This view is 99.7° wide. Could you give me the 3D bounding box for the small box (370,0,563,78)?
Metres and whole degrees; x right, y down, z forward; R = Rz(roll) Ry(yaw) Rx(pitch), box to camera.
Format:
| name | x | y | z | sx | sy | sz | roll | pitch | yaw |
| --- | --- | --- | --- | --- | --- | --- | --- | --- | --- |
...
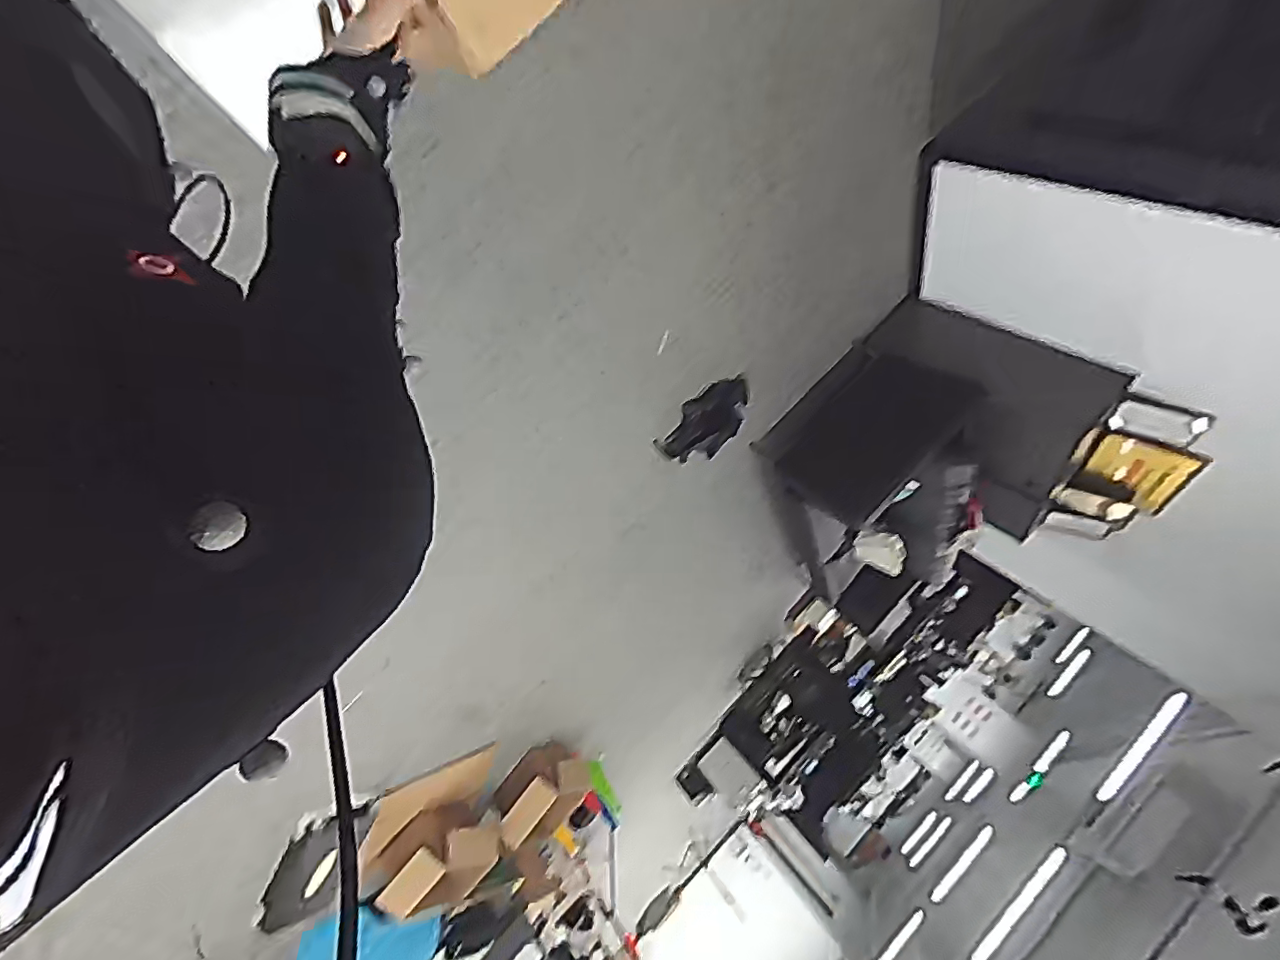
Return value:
| name | x | y | z | sx | sy | sz | roll | pitch | yaw |
| --- | --- | --- | --- | --- | --- | --- | --- | --- | --- |
| small box | -0.178 | -0.514 | 0.494 | 0.179 | 0.176 | 0.168 | -47 | 146 | -5 |
